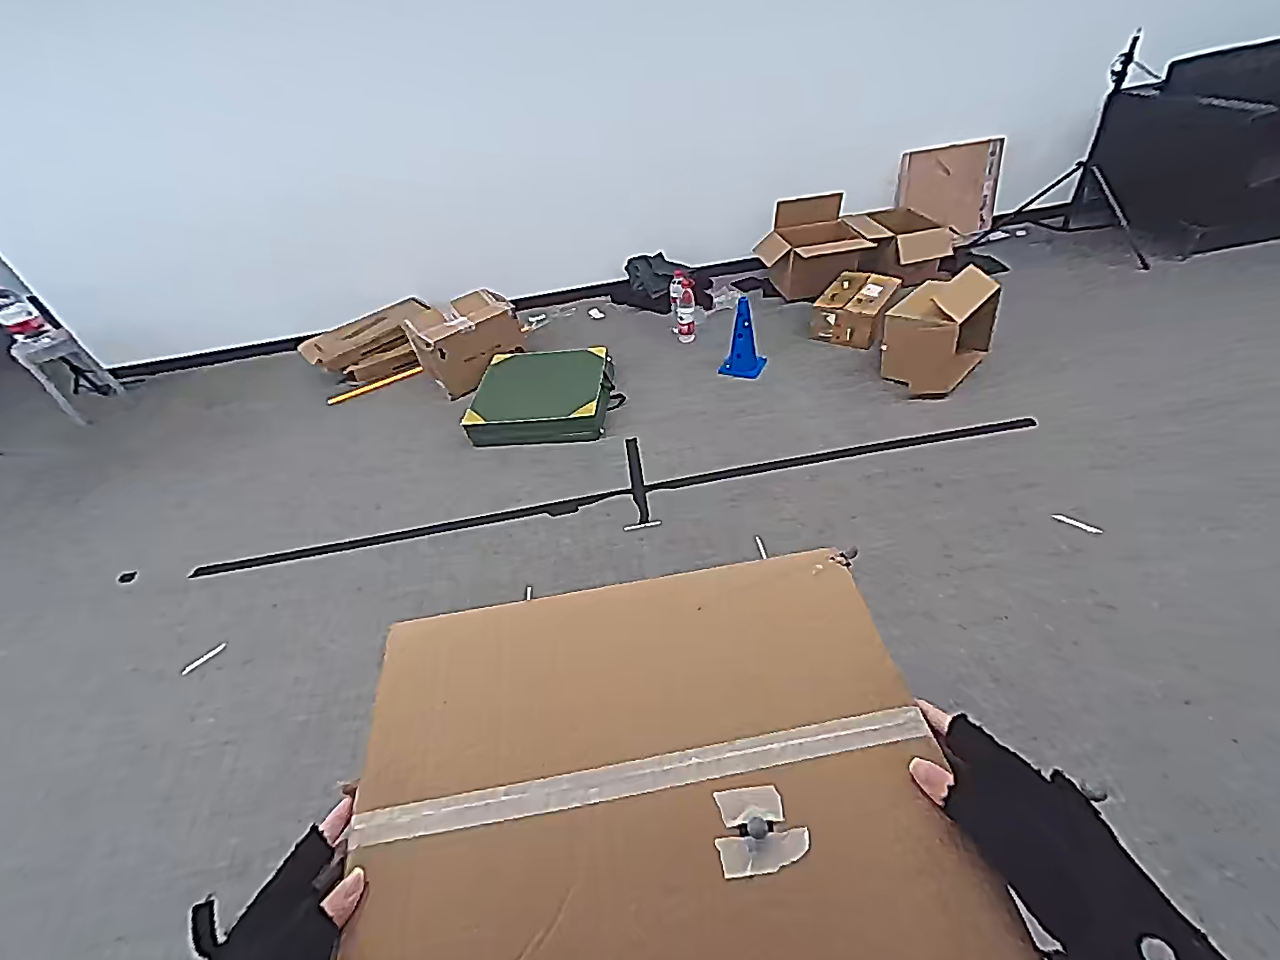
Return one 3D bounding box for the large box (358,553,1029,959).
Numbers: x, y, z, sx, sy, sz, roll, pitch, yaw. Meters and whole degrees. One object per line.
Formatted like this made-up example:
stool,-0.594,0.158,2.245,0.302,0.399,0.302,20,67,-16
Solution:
large box,0.017,0.311,0.505,0.408,0.320,0.320,-9,48,-3
